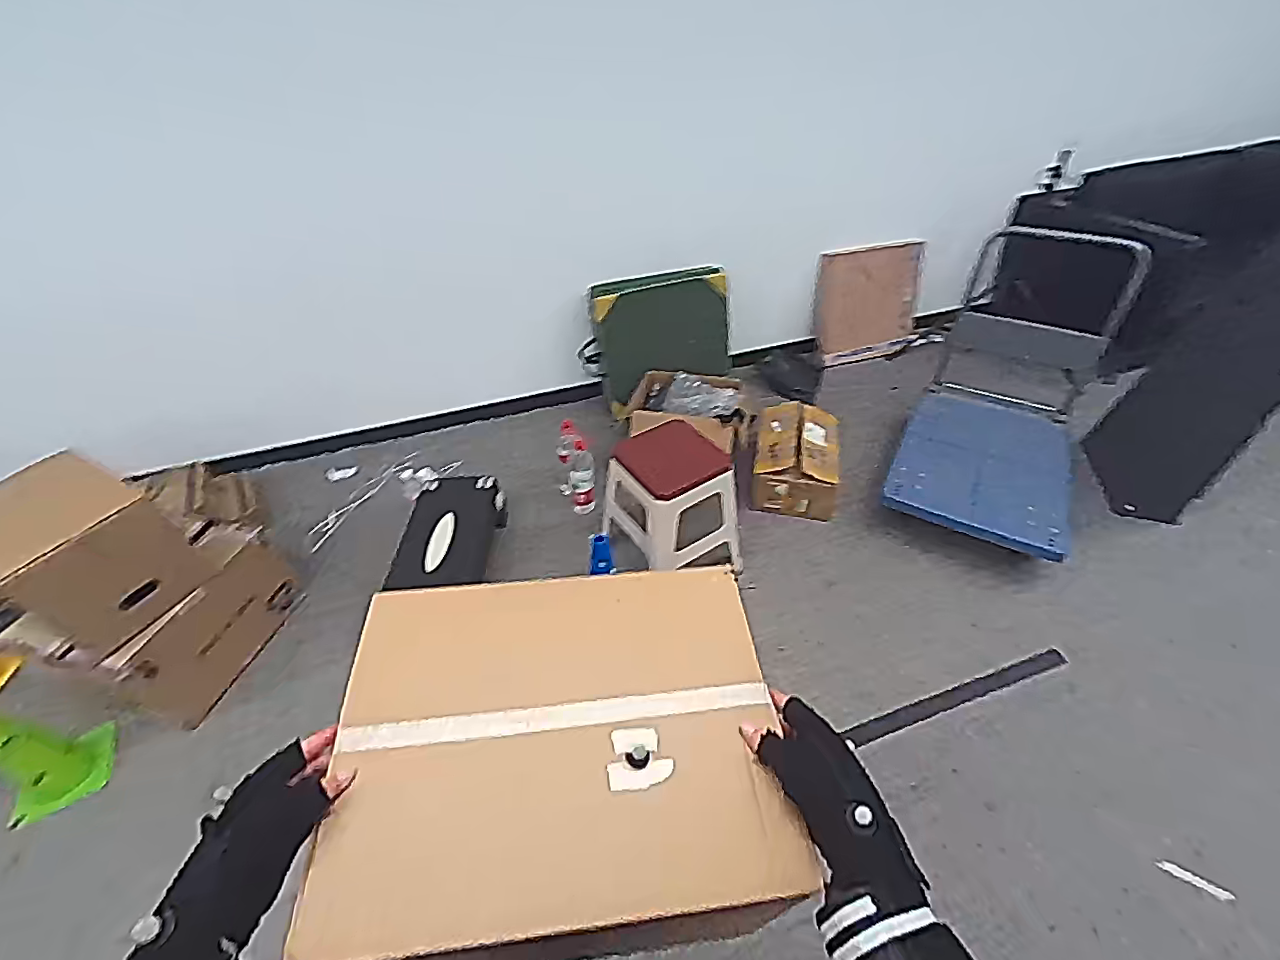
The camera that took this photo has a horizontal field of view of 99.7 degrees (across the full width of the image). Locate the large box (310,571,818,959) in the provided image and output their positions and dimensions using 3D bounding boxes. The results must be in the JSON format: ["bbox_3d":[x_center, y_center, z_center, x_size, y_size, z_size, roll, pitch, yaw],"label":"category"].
[{"bbox_3d":[-0.075,0.332,0.626,0.408,0.320,0.320,-2,46,-7],"label":"large box"}]
